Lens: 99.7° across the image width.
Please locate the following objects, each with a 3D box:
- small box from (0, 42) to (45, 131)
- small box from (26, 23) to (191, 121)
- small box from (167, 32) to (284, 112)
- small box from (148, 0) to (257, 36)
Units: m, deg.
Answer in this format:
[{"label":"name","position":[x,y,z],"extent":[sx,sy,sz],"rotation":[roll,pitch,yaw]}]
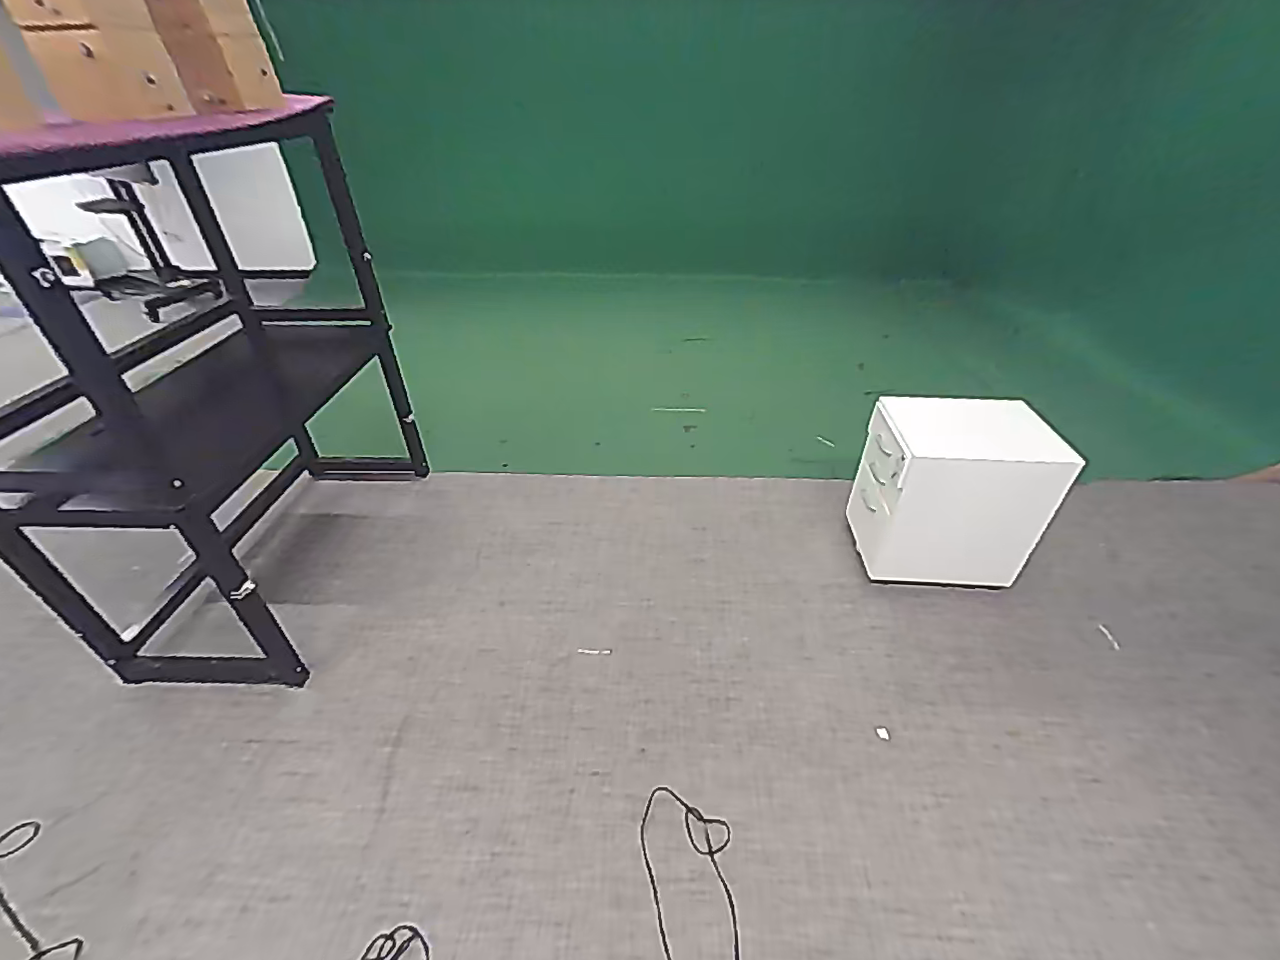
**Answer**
[{"label":"small box","position":[-1.186,-0.680,0.903],"extent":[0.168,0.176,0.179],"rotation":[-1,37,-3]},{"label":"small box","position":[-1.195,-0.930,1.237],"extent":[0.179,0.176,0.168],"rotation":[1,36,3]},{"label":"small box","position":[-1.142,-1.139,1.513],"extent":[0.168,0.176,0.179],"rotation":[2,39,8]},{"label":"small box","position":[-1.157,-1.265,1.412],"extent":[0.168,0.176,0.179],"rotation":[4,38,10]}]
